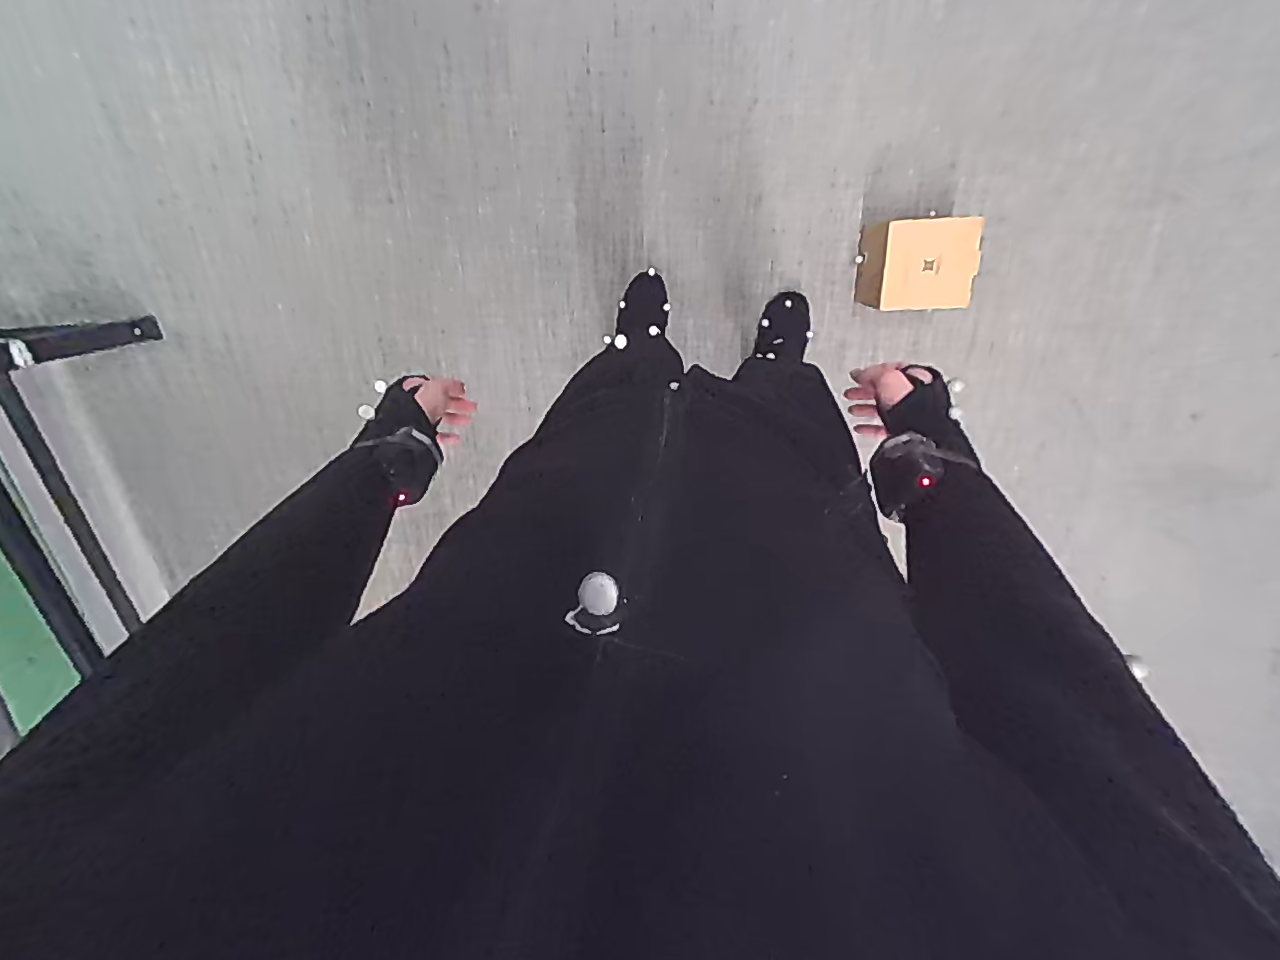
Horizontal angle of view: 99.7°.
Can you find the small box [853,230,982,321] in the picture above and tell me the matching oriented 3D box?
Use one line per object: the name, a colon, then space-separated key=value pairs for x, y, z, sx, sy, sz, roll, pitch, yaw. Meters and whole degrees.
small box: x=0.562 y=-0.426 z=1.119 sx=0.179 sy=0.176 sz=0.168 roll=-1 pitch=113 yaw=4
